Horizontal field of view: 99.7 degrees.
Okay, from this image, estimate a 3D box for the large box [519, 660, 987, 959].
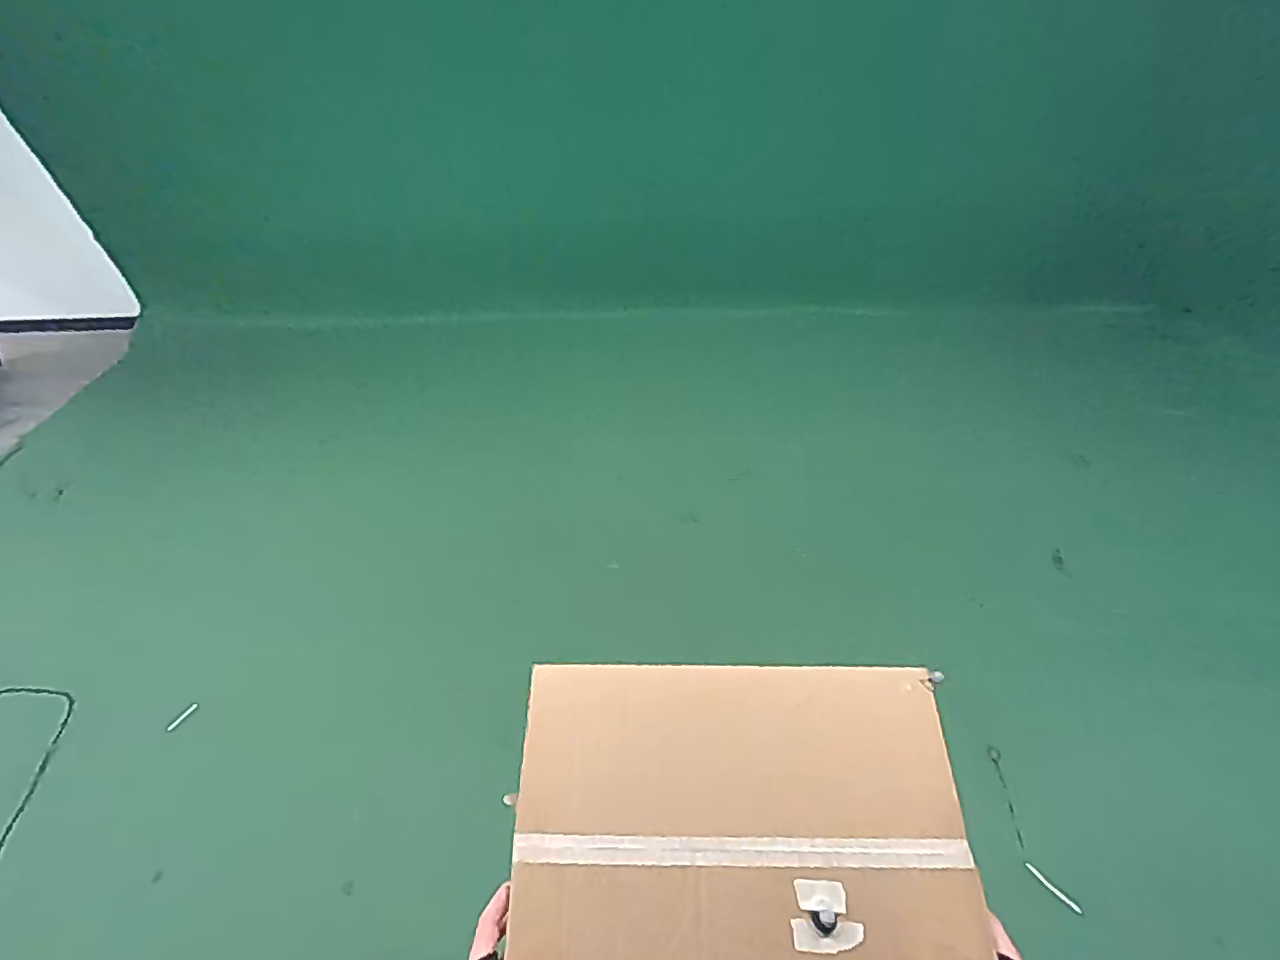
[{"bbox_3d":[0.094,0.399,0.628,0.408,0.320,0.320,-1,62,1],"label":"large box"}]
